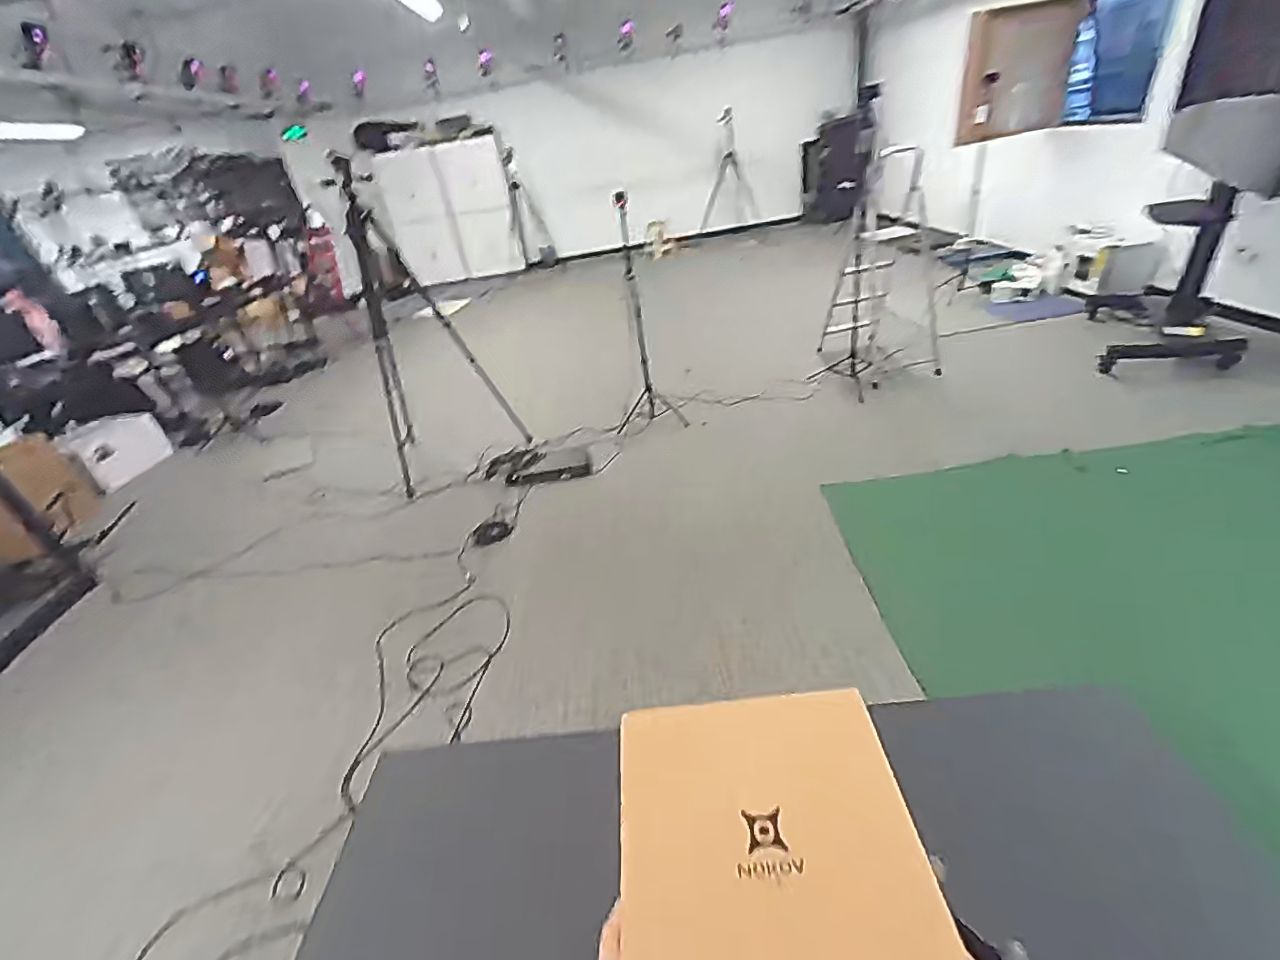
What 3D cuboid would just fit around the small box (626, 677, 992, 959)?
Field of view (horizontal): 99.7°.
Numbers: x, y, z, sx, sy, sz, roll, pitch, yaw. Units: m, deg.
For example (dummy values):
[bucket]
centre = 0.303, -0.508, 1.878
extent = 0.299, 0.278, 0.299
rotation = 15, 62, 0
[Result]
[small box]
centre = 0.083, 0.255, 0.336
extent = 0.168, 0.176, 0.179
rotation = -8, 34, 3
